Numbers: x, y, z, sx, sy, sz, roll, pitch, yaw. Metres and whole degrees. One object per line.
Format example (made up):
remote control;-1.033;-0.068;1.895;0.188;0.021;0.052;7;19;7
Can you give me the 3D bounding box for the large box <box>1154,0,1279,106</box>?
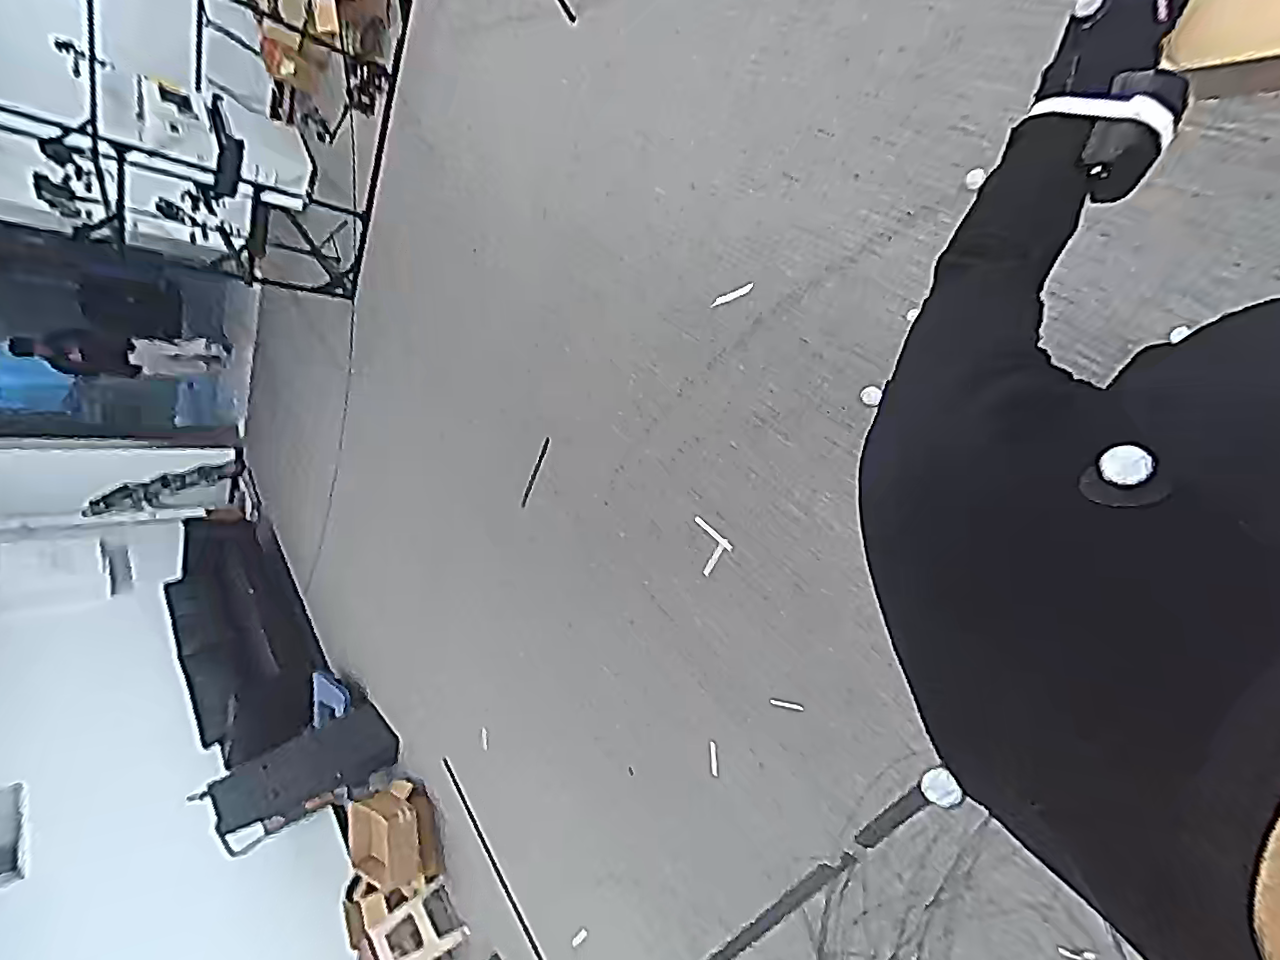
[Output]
large box;0.614;-0.446;0.305;0.408;0.320;0.320;20;125;41
